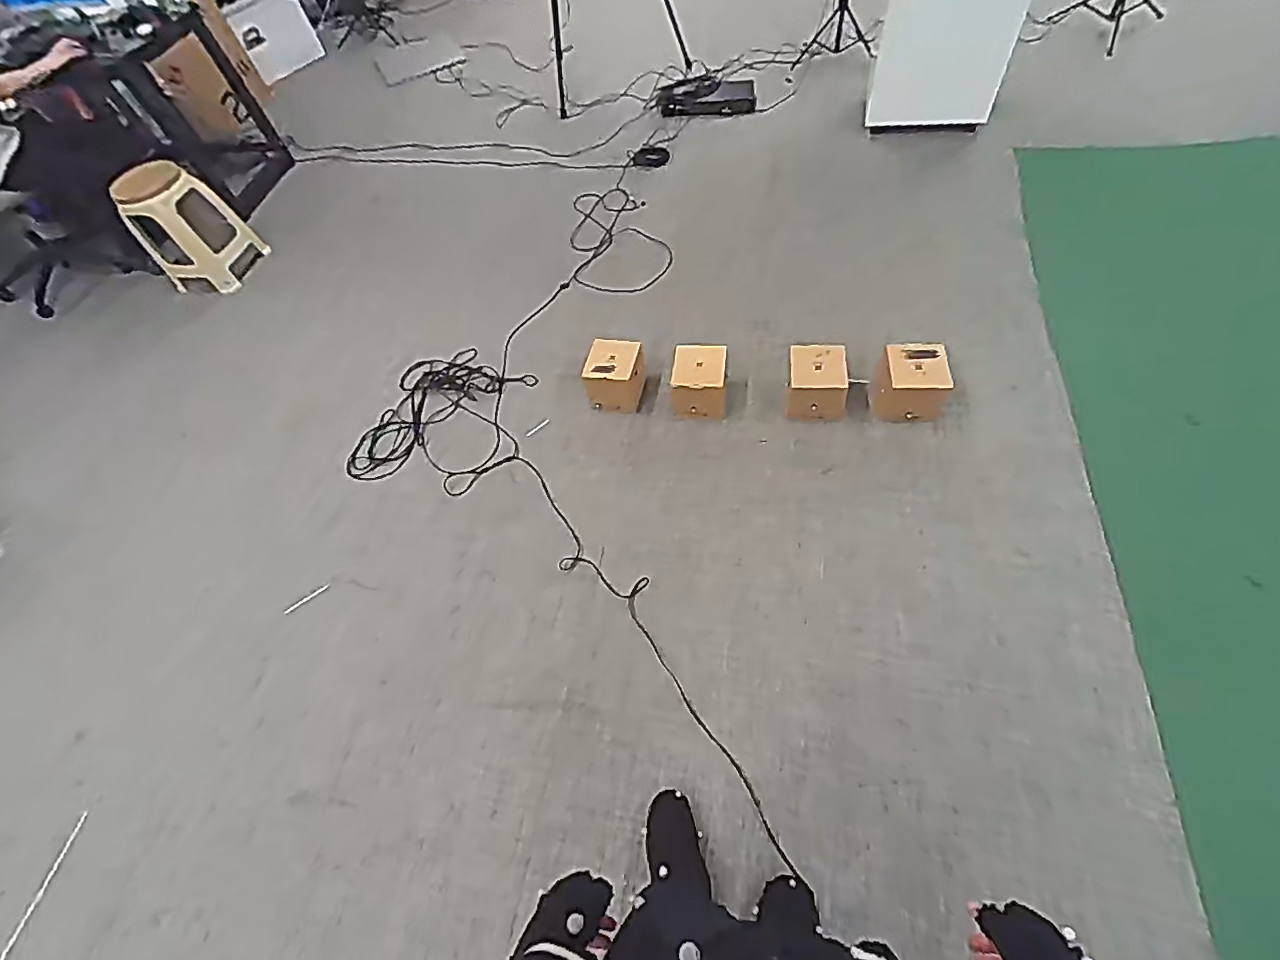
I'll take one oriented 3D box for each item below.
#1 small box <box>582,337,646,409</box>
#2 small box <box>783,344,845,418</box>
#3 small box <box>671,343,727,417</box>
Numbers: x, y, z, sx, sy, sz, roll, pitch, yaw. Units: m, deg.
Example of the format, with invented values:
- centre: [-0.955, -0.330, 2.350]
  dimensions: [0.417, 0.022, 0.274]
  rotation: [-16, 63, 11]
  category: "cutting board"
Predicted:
- centre: [-0.083, -0.366, 1.857]
  dimensions: [0.168, 0.176, 0.179]
  rotation: [8, 60, 13]
  category: "small box"
- centre: [0.552, -0.313, 1.725]
  dimensions: [0.168, 0.176, 0.179]
  rotation: [2, 60, 9]
  category: "small box"
- centre: [0.199, -0.330, 1.793]
  dimensions: [0.168, 0.176, 0.179]
  rotation: [3, 60, 11]
  category: "small box"
